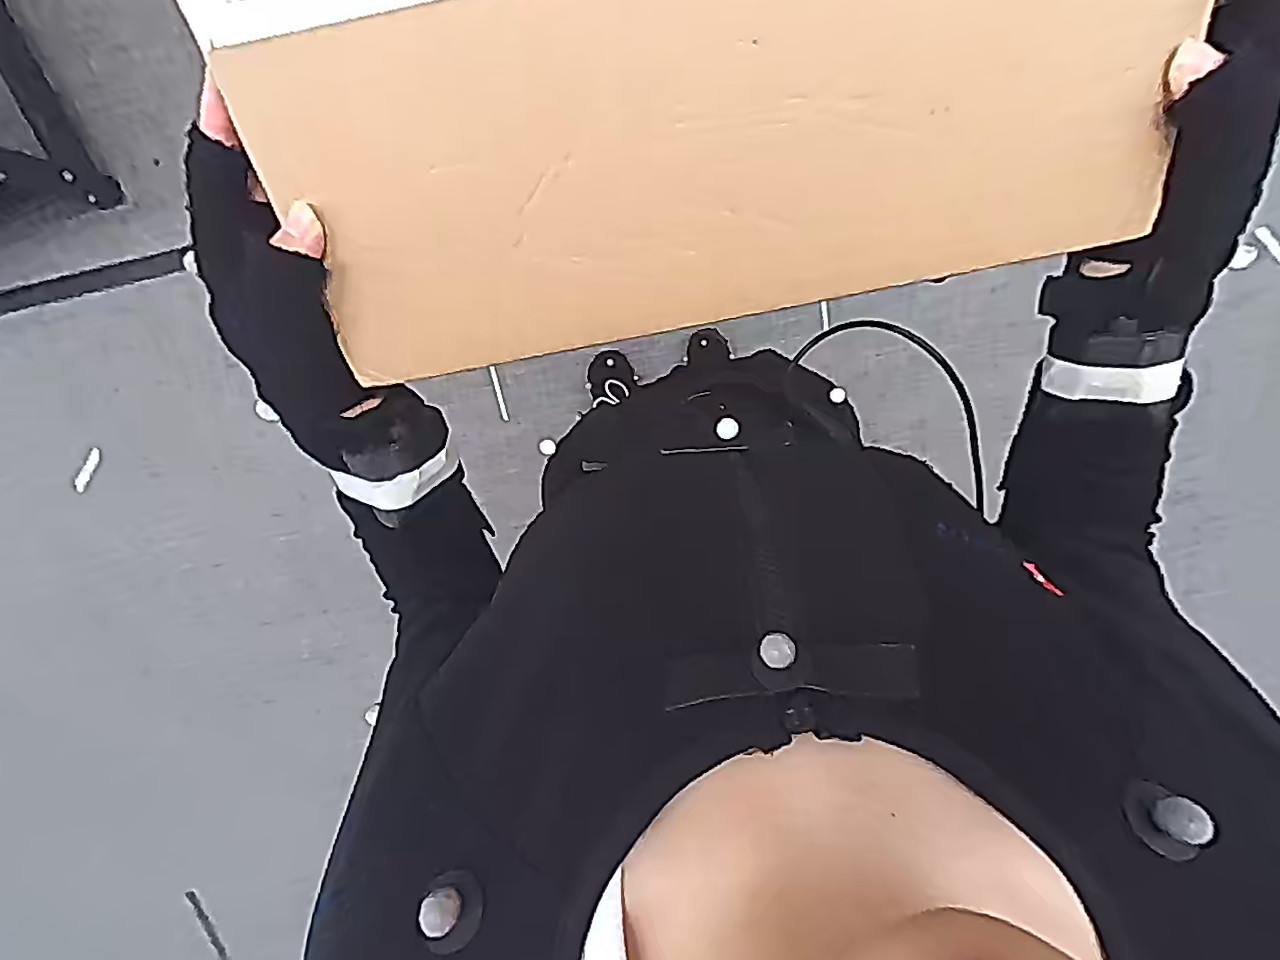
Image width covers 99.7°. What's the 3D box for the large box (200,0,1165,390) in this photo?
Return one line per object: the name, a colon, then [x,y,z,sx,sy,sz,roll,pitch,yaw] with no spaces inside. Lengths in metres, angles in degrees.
large box: [0.015,-0.289,0.344,0.408,0.320,0.320,-10,119,3]
